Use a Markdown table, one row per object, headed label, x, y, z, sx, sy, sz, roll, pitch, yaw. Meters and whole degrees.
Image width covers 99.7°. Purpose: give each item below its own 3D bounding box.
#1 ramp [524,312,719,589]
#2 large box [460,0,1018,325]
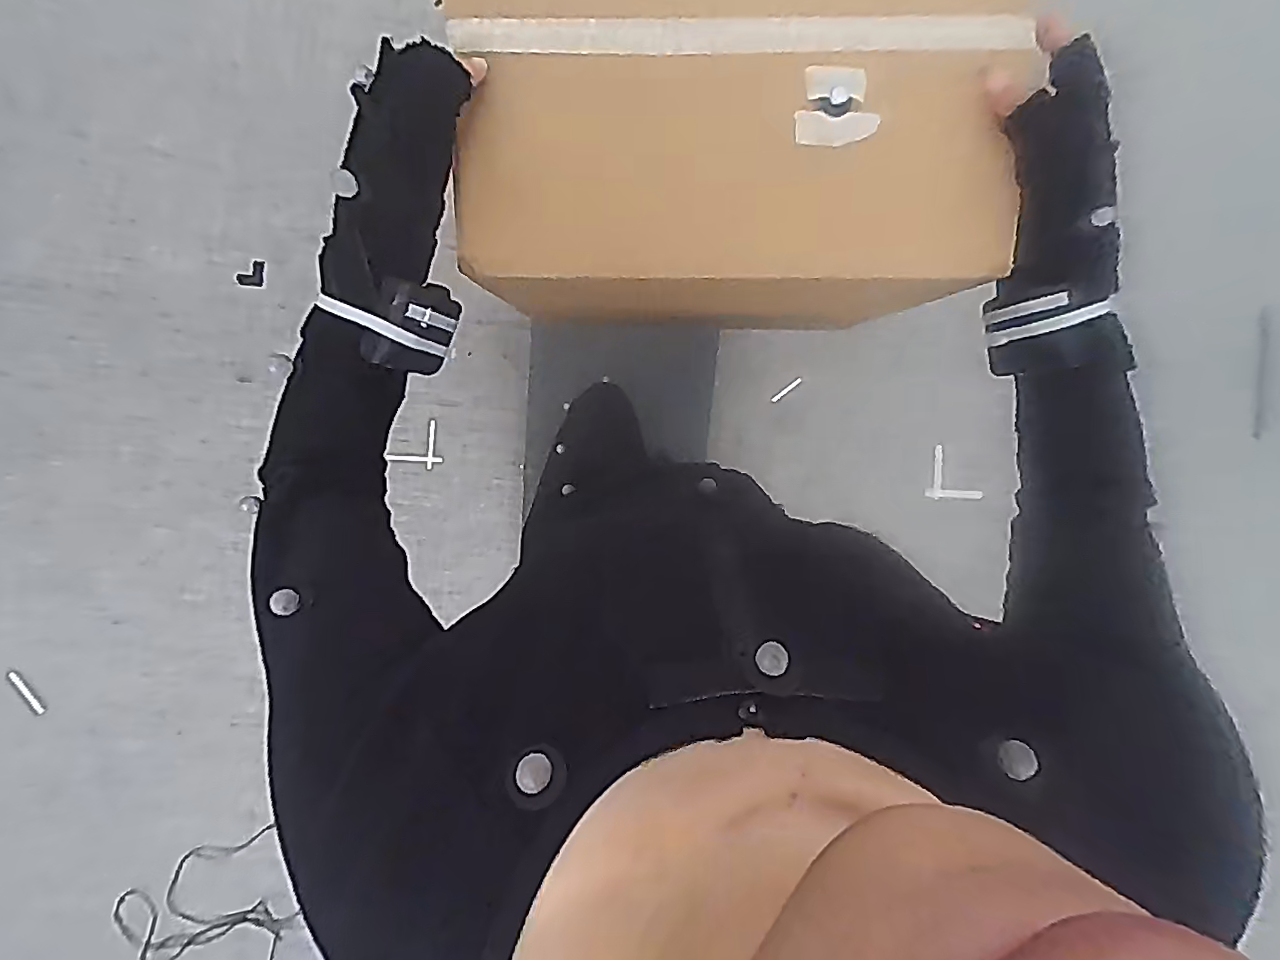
| label | x | y | z | sx | sy | sz | roll | pitch | yaw |
| --- | --- | --- | --- | --- | --- | --- | --- | --- | --- |
| ramp | -0.050 | -0.190 | 1.453 | 0.509 | 0.206 | 0.991 | 2 | 90 | -4 |
| large box | 0.068 | -0.336 | 0.536 | 0.408 | 0.320 | 0.320 | 0 | 99 | -1 |
